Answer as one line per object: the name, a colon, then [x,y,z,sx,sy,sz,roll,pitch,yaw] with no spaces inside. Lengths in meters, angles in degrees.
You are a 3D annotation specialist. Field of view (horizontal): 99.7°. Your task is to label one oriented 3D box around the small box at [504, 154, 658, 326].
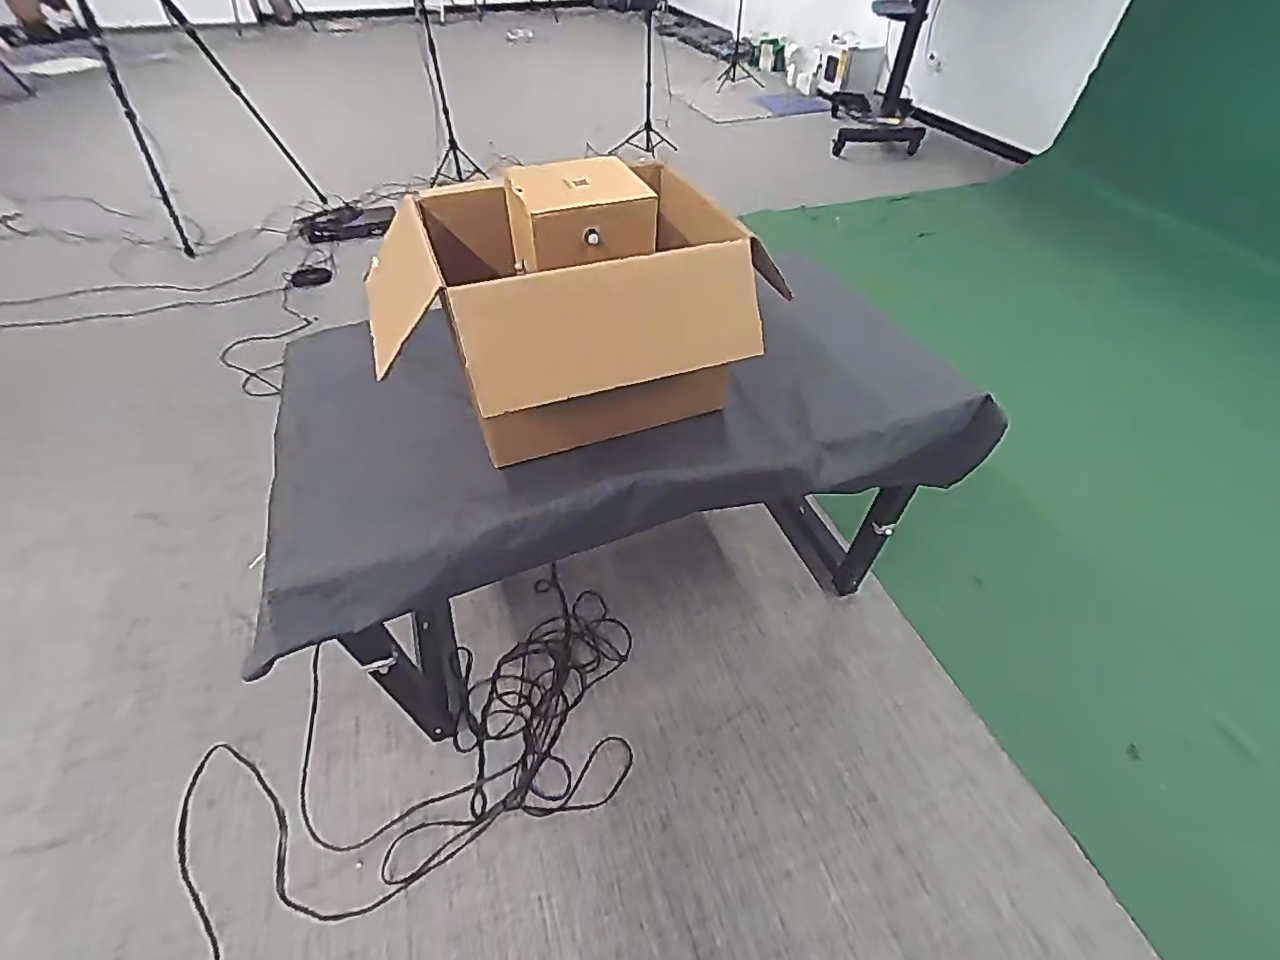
small box: [-0.087,-0.351,0.795,0.179,0.176,0.168,-16,50,-15]
